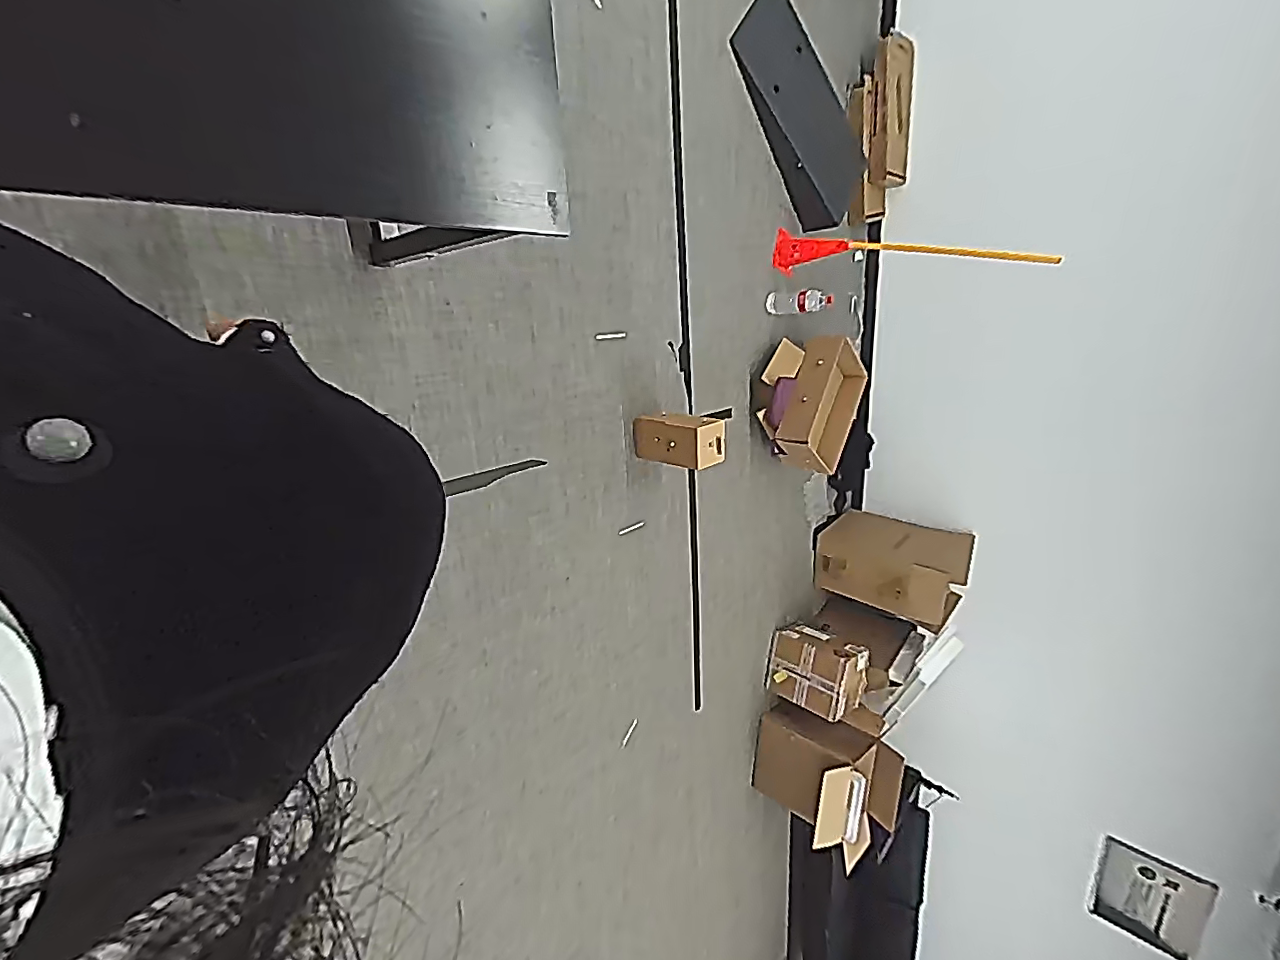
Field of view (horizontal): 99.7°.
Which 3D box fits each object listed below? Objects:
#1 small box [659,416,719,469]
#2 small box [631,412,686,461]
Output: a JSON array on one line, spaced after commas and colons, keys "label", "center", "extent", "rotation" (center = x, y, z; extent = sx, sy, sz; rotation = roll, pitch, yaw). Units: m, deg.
[{"label": "small box", "center": [0.193, -0.153, 2.120], "extent": [0.179, 0.176, 0.168], "rotation": [-19, 113, -43]}, {"label": "small box", "center": [0.077, -0.185, 2.233], "extent": [0.168, 0.176, 0.179], "rotation": [-20, 114, -43]}]
